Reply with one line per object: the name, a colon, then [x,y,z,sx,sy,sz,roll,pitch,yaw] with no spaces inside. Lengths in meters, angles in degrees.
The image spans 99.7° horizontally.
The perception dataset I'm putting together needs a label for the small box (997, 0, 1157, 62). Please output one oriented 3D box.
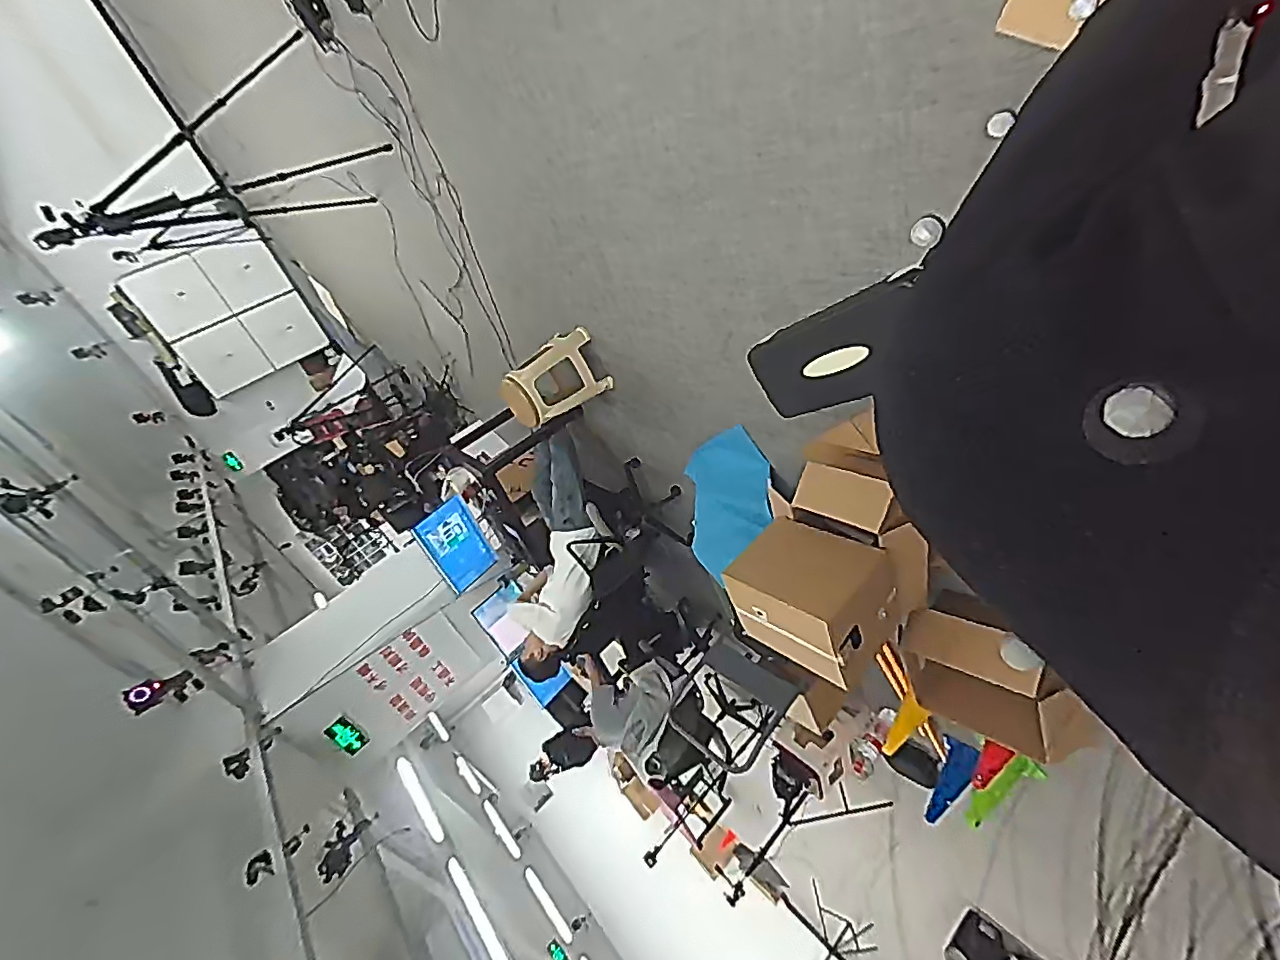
small box: [0.697,-0.776,0.812,0.168,0.176,0.179,40,153,23]
